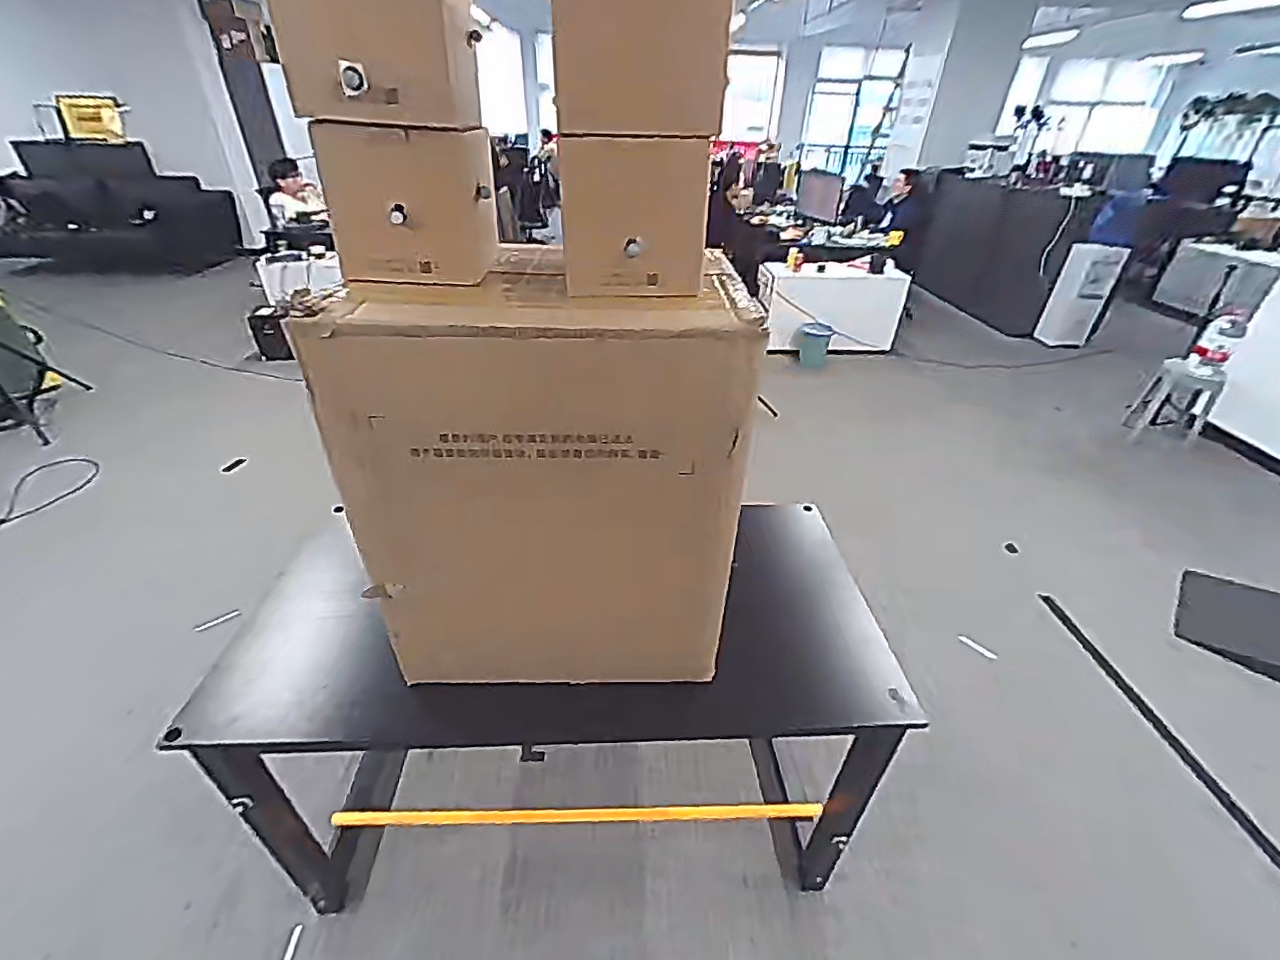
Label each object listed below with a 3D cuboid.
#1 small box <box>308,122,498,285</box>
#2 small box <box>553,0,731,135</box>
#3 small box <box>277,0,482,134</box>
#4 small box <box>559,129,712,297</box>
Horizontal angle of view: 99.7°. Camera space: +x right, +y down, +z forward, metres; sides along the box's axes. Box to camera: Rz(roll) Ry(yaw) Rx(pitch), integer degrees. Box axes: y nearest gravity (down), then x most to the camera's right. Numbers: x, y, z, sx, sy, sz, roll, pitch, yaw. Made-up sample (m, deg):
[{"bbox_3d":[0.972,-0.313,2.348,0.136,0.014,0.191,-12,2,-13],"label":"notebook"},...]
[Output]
[{"bbox_3d":[-0.282,-0.358,0.694,0.168,0.176,0.179,1,34,-5],"label":"small box"},{"bbox_3d":[-0.001,-0.473,0.585,0.179,0.176,0.168,0,34,-3],"label":"small box"},{"bbox_3d":[-0.275,-0.486,0.592,0.168,0.176,0.179,-1,34,-5],"label":"small box"},{"bbox_3d":[-0.009,-0.340,0.682,0.168,0.176,0.179,-1,34,-2],"label":"small box"}]
